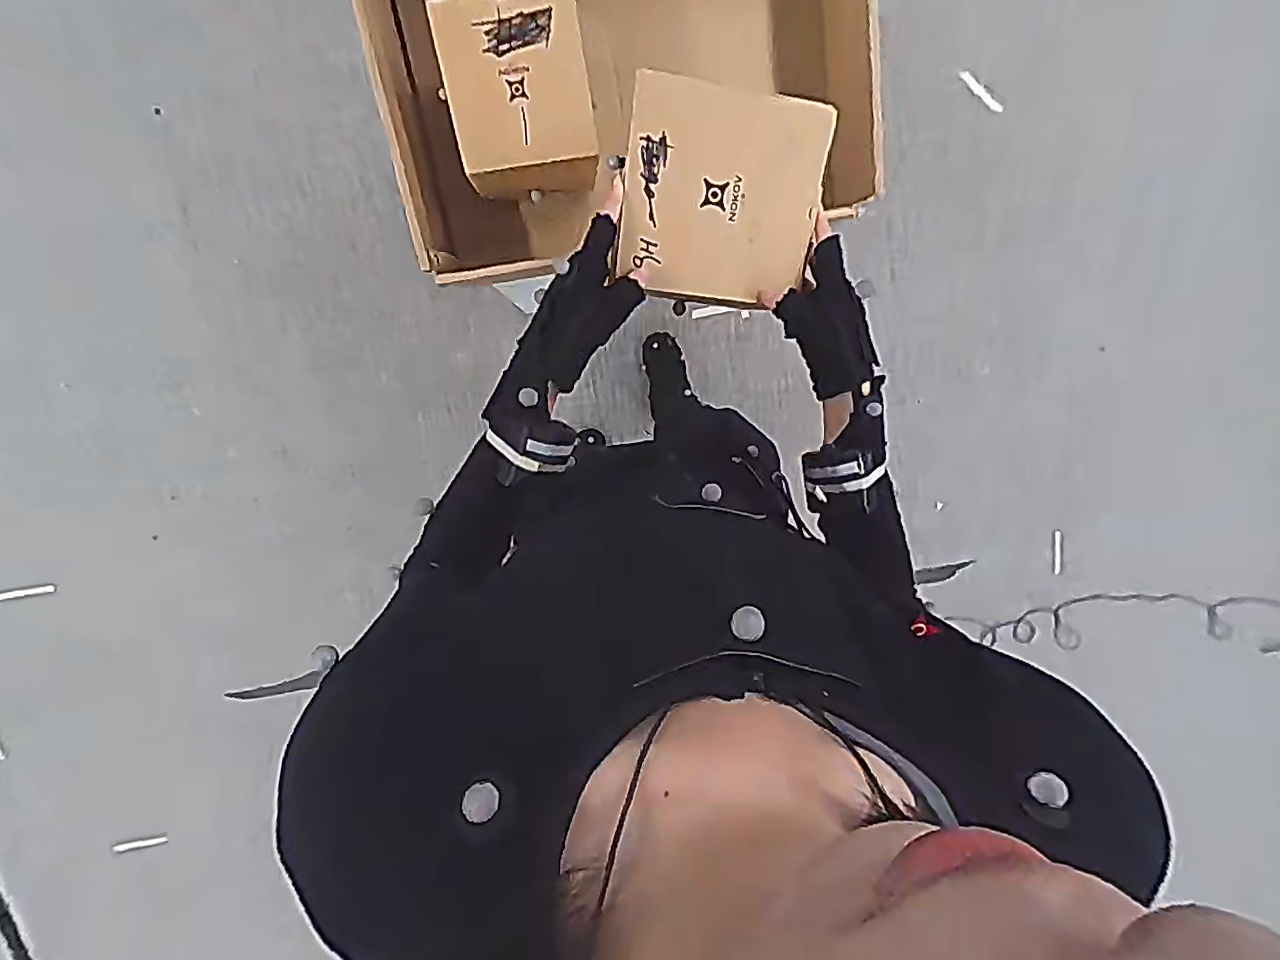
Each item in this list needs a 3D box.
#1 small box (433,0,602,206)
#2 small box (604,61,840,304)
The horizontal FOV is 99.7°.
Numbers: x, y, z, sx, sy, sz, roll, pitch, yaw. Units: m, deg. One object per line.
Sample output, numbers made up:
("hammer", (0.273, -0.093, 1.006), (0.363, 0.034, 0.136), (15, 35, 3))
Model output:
("small box", (-0.147, -0.478, 0.700), (0.168, 0.176, 0.179), (-11, 107, -3))
("small box", (0.064, -0.273, 0.541), (0.179, 0.176, 0.168), (4, 106, -10))
